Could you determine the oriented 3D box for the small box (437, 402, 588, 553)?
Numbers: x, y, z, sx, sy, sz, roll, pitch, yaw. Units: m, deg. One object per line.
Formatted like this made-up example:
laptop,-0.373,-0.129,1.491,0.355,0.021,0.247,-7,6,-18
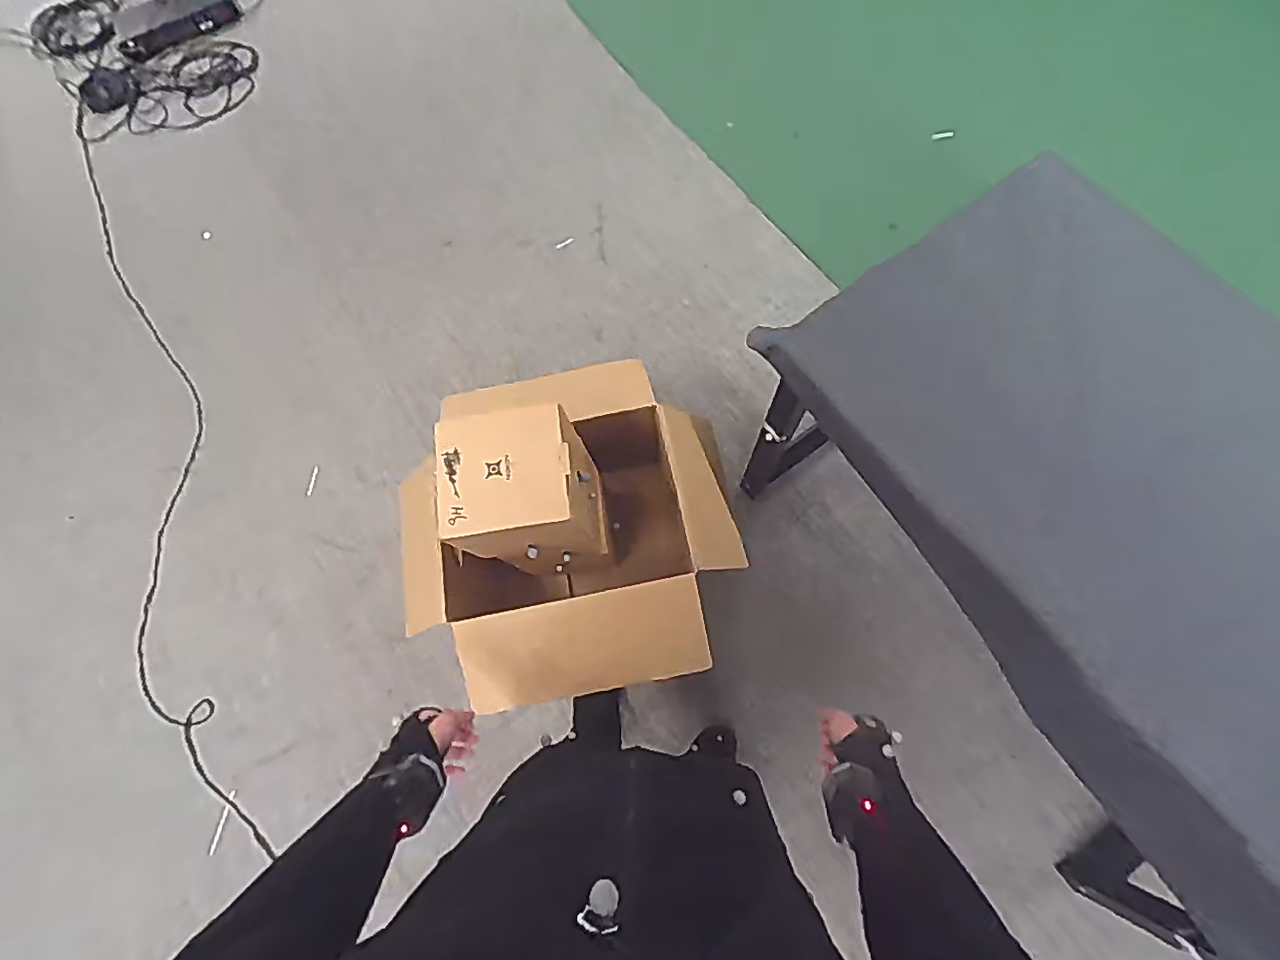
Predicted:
small box,-0.174,0.005,0.780,0.179,0.176,0.168,-8,73,2
